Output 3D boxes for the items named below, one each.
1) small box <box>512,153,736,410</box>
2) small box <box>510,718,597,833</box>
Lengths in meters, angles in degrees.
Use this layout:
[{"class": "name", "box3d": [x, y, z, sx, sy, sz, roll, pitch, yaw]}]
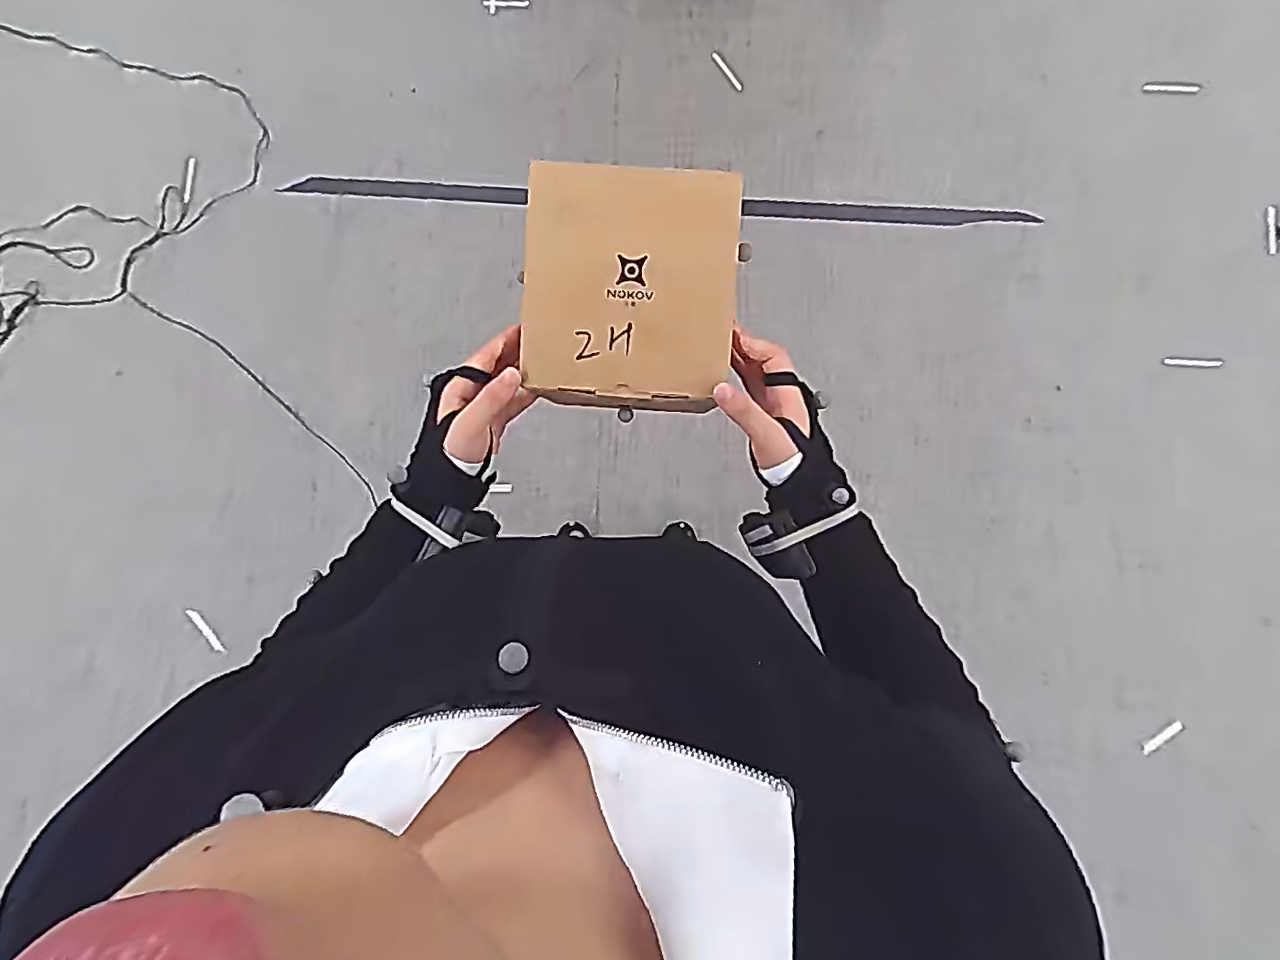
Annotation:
[{"class": "small box", "box3d": [-0.013, -0.164, 0.499, 0.168, 0.176, 0.179, 4, 93, 1]}, {"class": "small box", "box3d": [-0.197, 0.693, 1.286, 0.168, 0.176, 0.179, 7, 86, 2]}]
